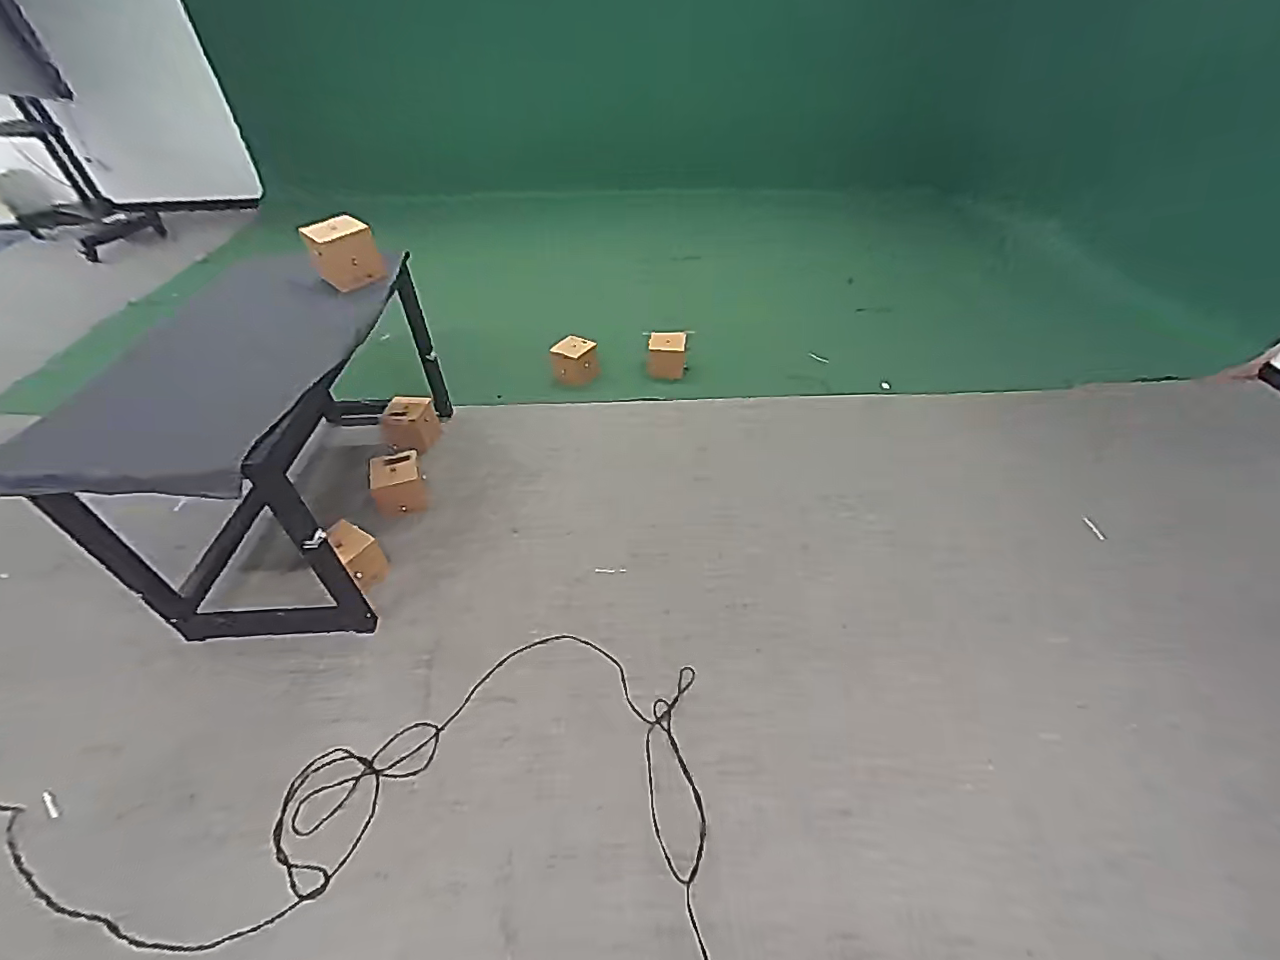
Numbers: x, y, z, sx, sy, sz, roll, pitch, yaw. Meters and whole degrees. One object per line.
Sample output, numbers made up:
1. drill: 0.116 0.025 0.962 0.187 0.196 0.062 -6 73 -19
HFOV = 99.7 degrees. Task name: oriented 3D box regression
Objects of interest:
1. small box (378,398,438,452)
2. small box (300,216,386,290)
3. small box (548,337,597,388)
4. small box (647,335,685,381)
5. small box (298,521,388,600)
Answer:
1. small box: -0.990 -0.236 2.330 0.168 0.176 0.179 2 42 3
2. small box: -0.992 -0.761 1.819 0.179 0.176 0.168 34 56 31
3. small box: -0.329 -0.581 2.691 0.168 0.176 0.179 23 49 24
4. small box: 0.129 -0.612 2.718 0.179 0.176 0.168 5 45 4
5. small box: -0.977 0.272 1.796 0.179 0.176 0.168 22 48 23
